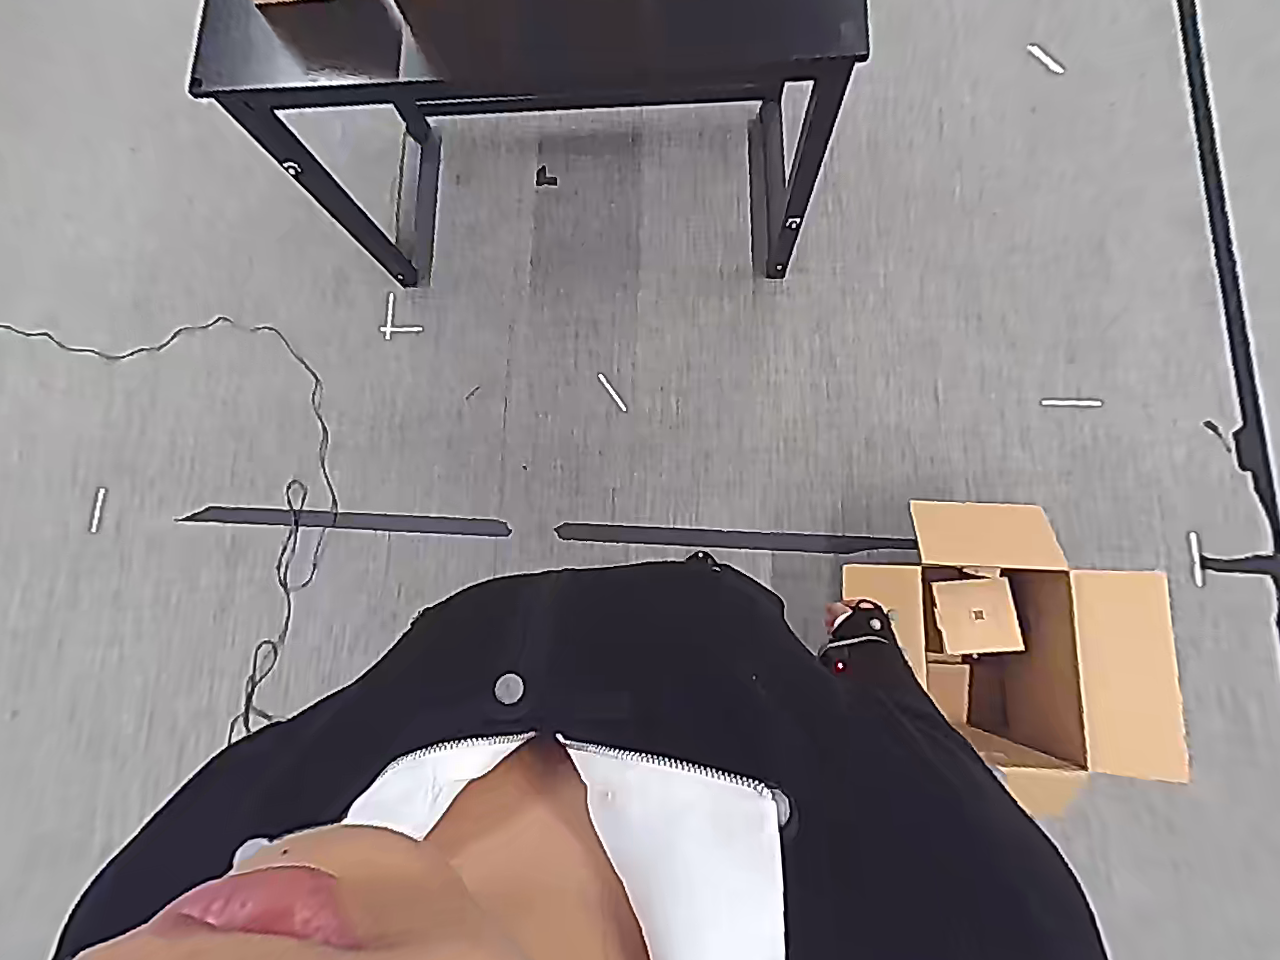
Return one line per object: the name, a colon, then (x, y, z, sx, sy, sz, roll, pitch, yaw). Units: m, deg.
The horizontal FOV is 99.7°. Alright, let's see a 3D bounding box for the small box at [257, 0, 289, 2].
small box: (-0.648, -0.985, 0.934, 0.168, 0.176, 0.179, -1, 82, 4)
